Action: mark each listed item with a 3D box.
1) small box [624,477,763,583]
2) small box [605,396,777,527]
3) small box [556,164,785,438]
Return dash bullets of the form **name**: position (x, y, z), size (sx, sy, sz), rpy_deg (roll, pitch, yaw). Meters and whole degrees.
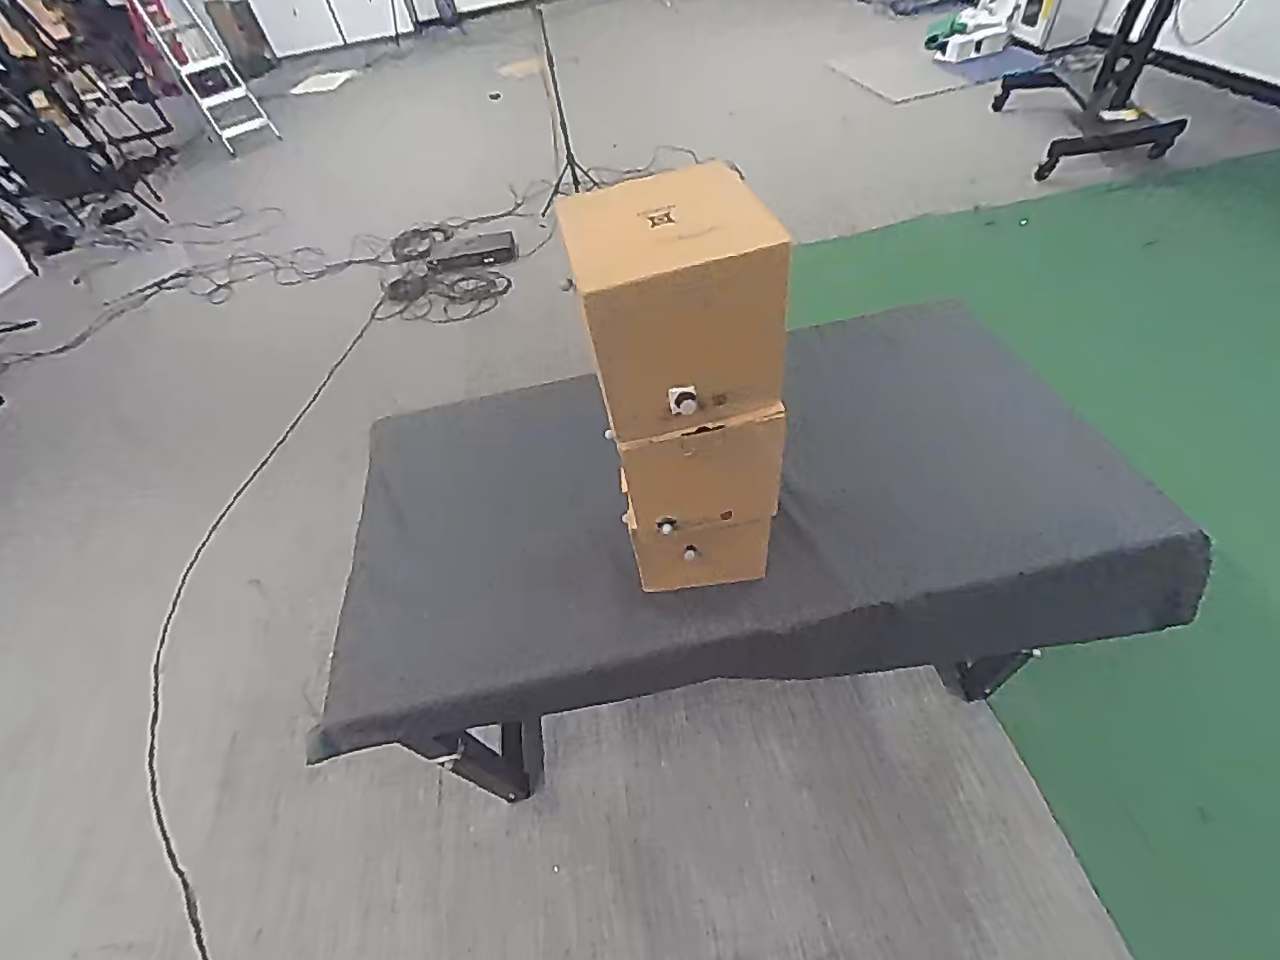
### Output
- **small box**: position (0.074, 0.032, 0.779), size (0.179, 0.176, 0.168), rpy_deg (-9, 48, 1)
- **small box**: position (0.053, -0.061, 0.642), size (0.168, 0.176, 0.179), rpy_deg (-14, 51, -2)
- **small box**: position (0.026, -0.171, 0.525), size (0.168, 0.176, 0.179), rpy_deg (-16, 51, -2)
